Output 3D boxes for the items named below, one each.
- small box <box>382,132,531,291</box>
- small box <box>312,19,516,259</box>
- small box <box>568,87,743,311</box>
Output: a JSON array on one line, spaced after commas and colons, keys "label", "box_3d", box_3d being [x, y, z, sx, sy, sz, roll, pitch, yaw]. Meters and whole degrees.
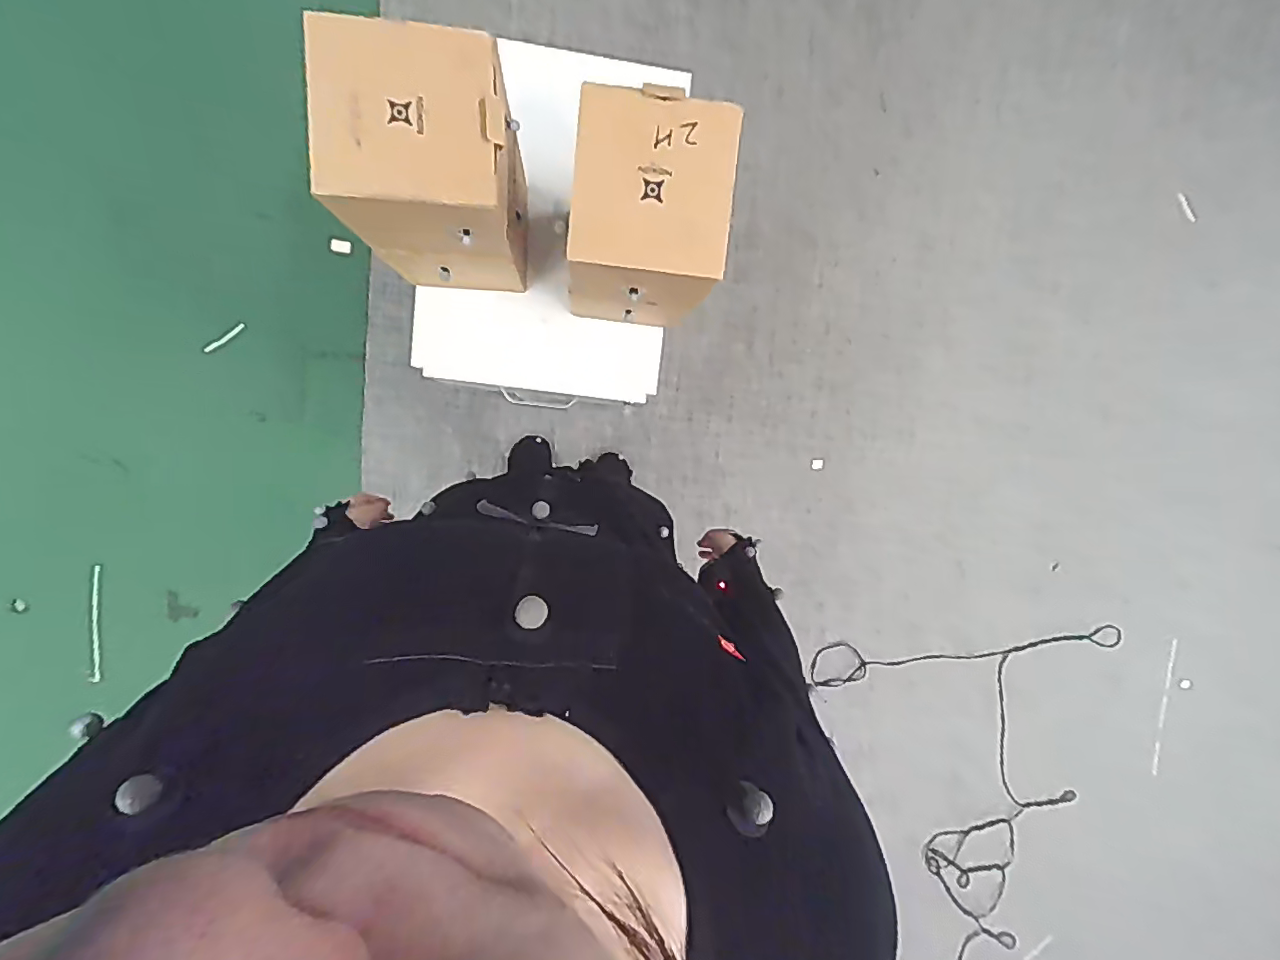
[{"label": "small box", "box_3d": [-0.251, -0.373, 0.766, 0.179, 0.176, 0.168, 0, 97, -8]}, {"label": "small box", "box_3d": [-0.233, -0.357, 0.603, 0.179, 0.176, 0.168, 0, 95, -7]}, {"label": "small box", "box_3d": [0.010, -0.307, 0.632, 0.168, 0.176, 0.179, 5, 95, -6]}]
